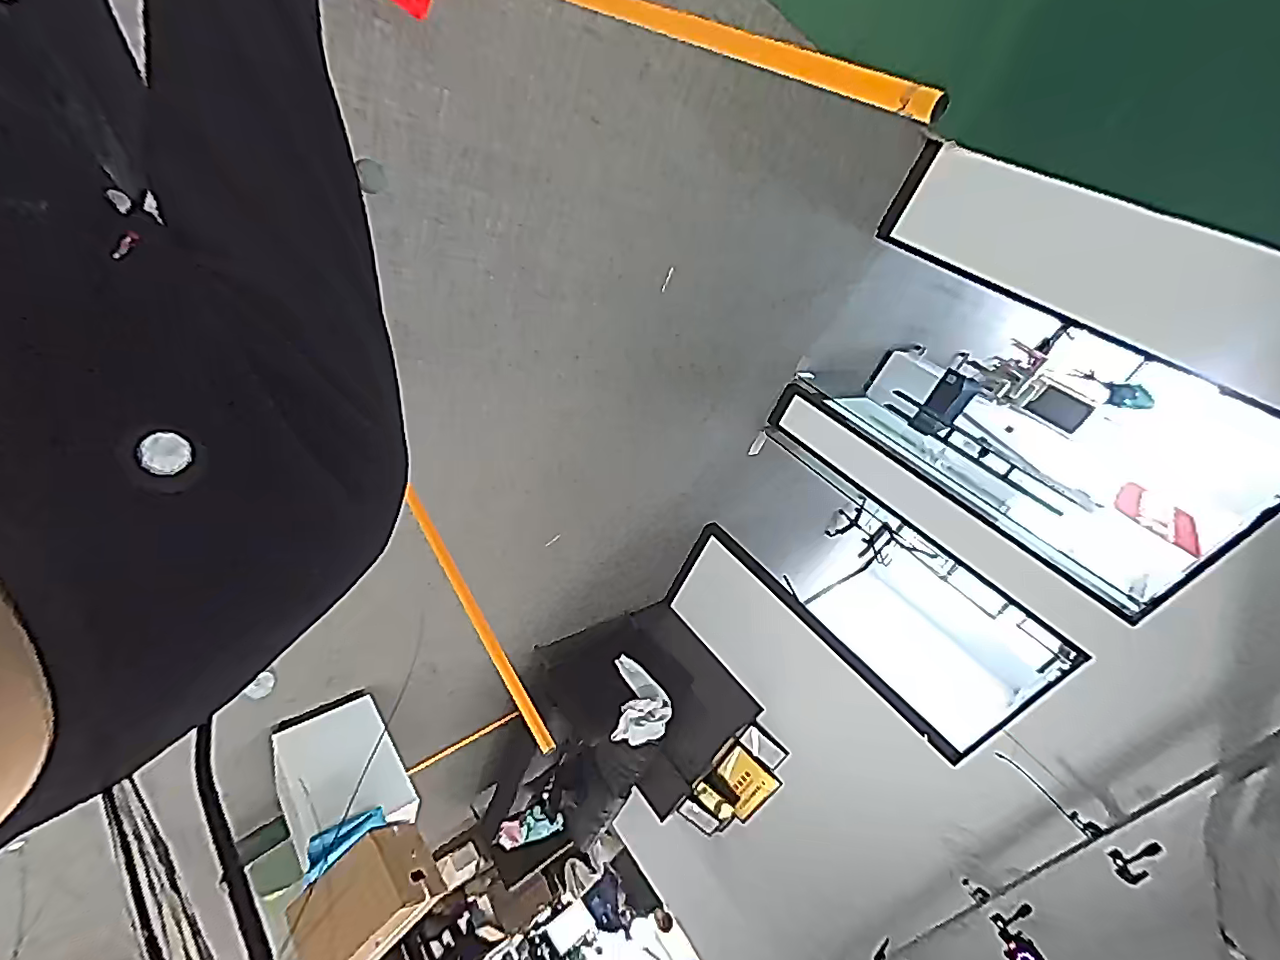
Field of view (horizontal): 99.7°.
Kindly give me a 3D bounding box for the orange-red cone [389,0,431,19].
[{"bbox_3d":[-0.379,-0.964,0.978,0.198,0.360,0.199,4,125,-53],"label":"orange-red cone"}]
